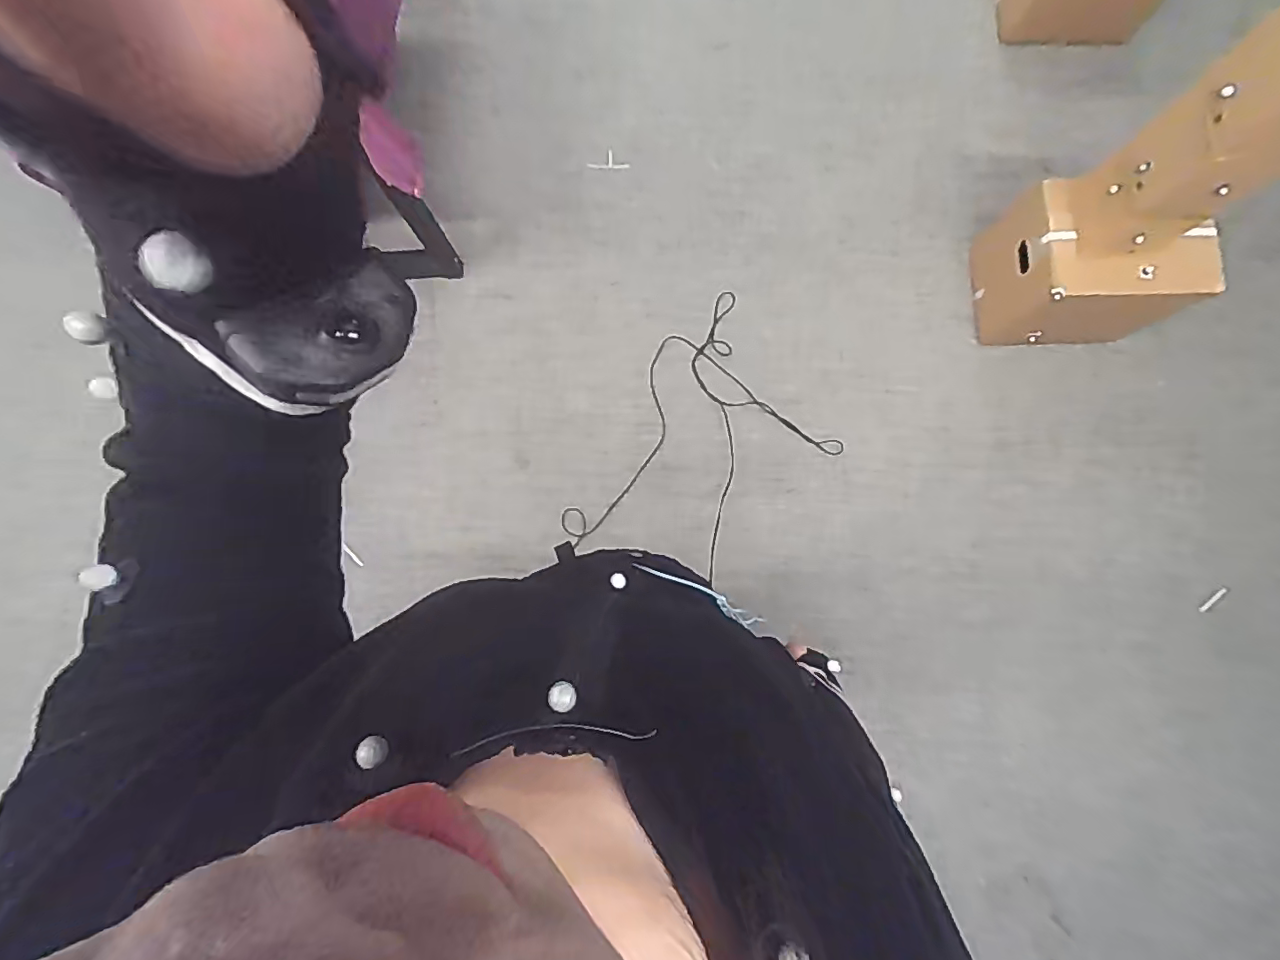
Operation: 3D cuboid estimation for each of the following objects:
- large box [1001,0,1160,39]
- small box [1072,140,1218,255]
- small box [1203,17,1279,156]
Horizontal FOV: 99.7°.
[{"bbox_3d":[1.361,-1.585,1.608,0.408,0.320,0.320,0,82,-1],"label":"large box"},{"bbox_3d":[1.137,-0.632,1.232,0.168,0.176,0.179,-2,81,1],"label":"small box"},{"bbox_3d":[1.121,-0.675,0.906,0.179,0.176,0.168,1,81,3],"label":"small box"}]
